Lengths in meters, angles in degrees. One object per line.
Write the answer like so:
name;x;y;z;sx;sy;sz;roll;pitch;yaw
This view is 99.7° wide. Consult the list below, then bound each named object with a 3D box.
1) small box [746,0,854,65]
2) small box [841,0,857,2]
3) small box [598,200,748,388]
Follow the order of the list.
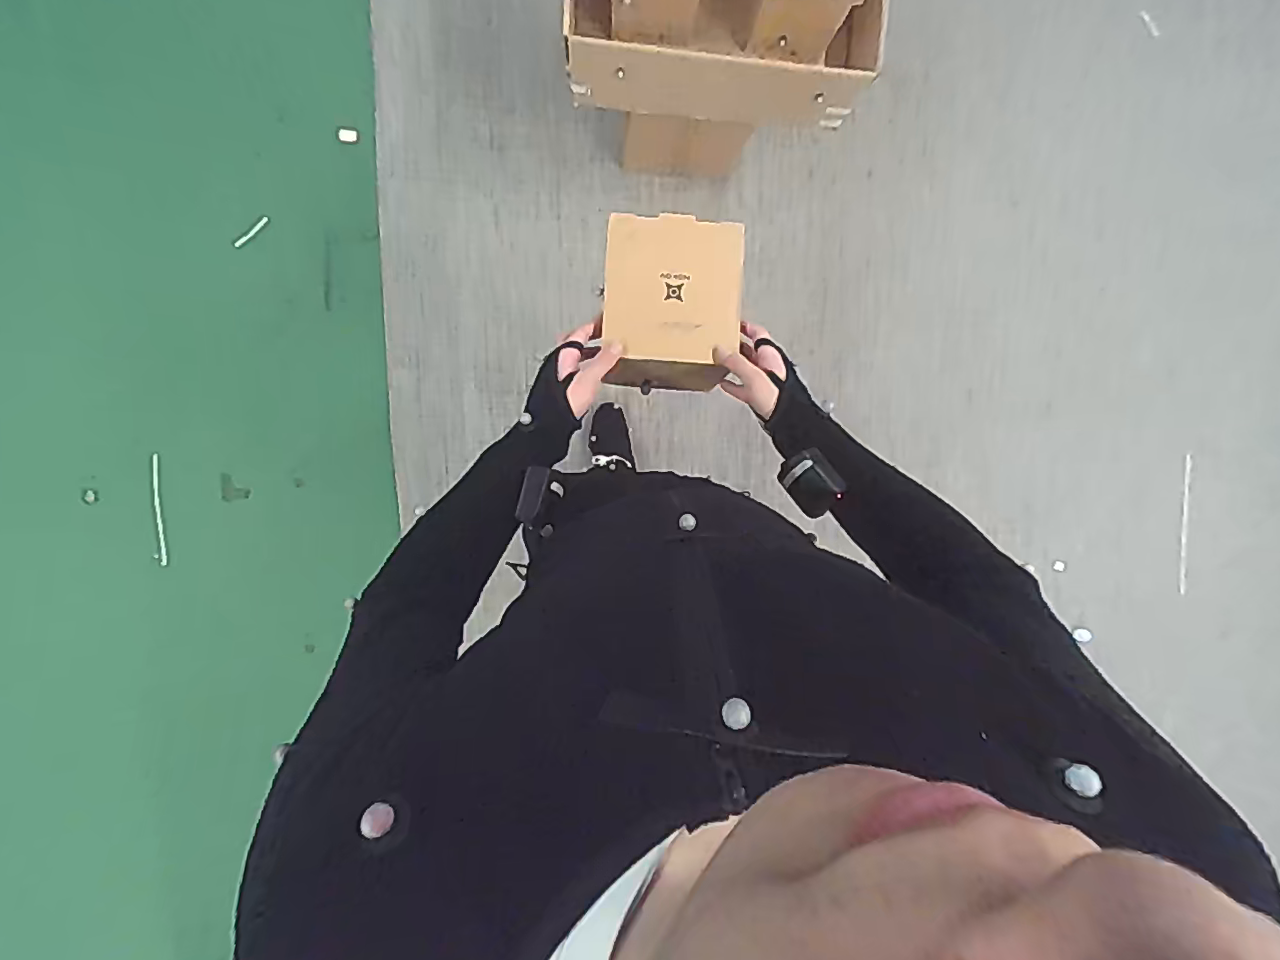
small box;0.315;-0.976;1.065;0.168;0.176;0.179;5;95;-6
small box;0.337;-0.955;0.903;0.168;0.176;0.179;0;95;-5
small box;0.034;-0.229;0.706;0.168;0.176;0.179;4;88;-4
